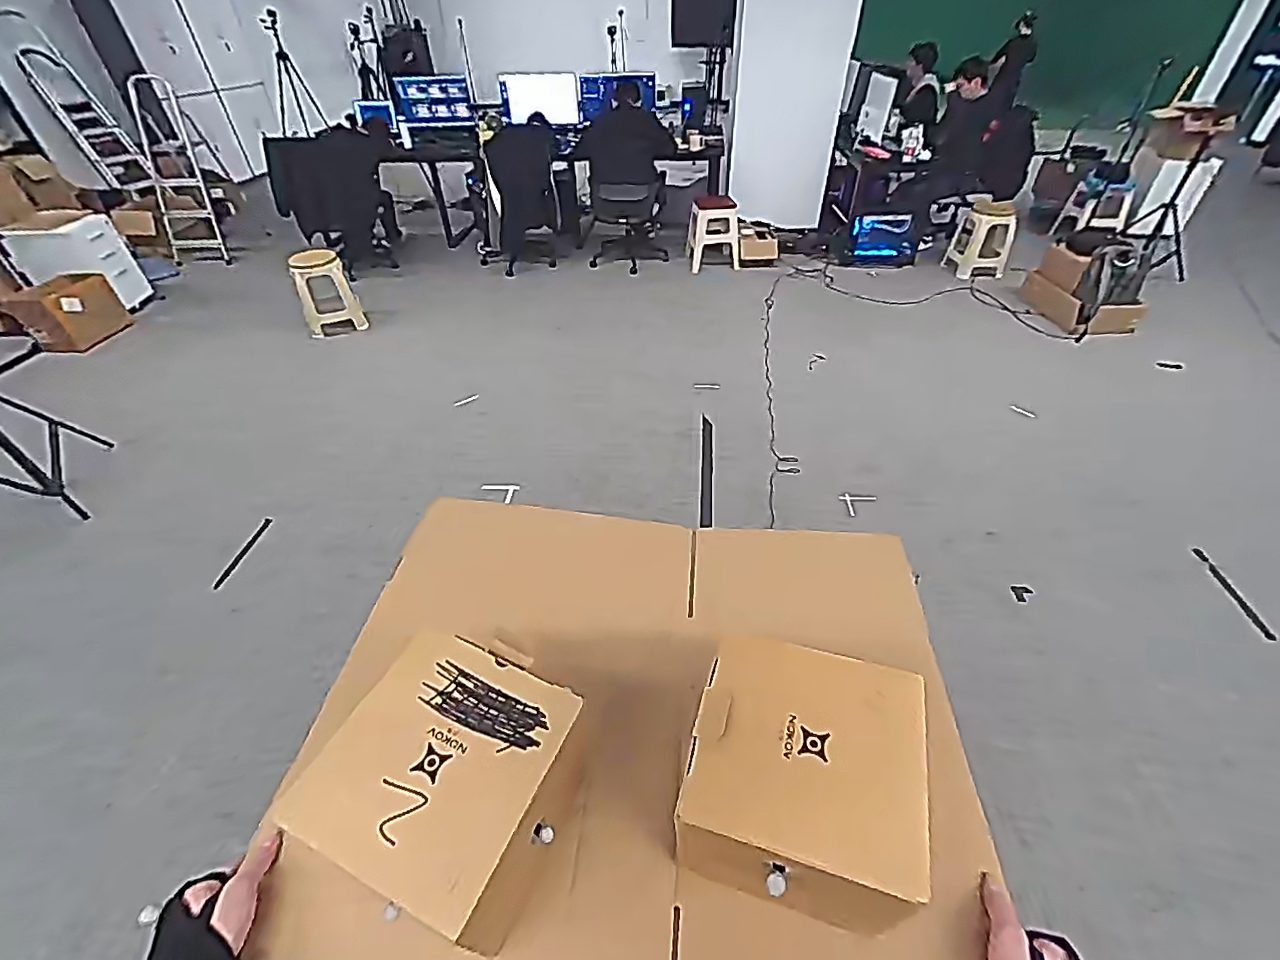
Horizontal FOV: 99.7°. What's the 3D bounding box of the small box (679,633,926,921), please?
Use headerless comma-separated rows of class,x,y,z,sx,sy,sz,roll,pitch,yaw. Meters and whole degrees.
small box,0.144,0.272,0.496,0.179,0.176,0.168,9,46,17
